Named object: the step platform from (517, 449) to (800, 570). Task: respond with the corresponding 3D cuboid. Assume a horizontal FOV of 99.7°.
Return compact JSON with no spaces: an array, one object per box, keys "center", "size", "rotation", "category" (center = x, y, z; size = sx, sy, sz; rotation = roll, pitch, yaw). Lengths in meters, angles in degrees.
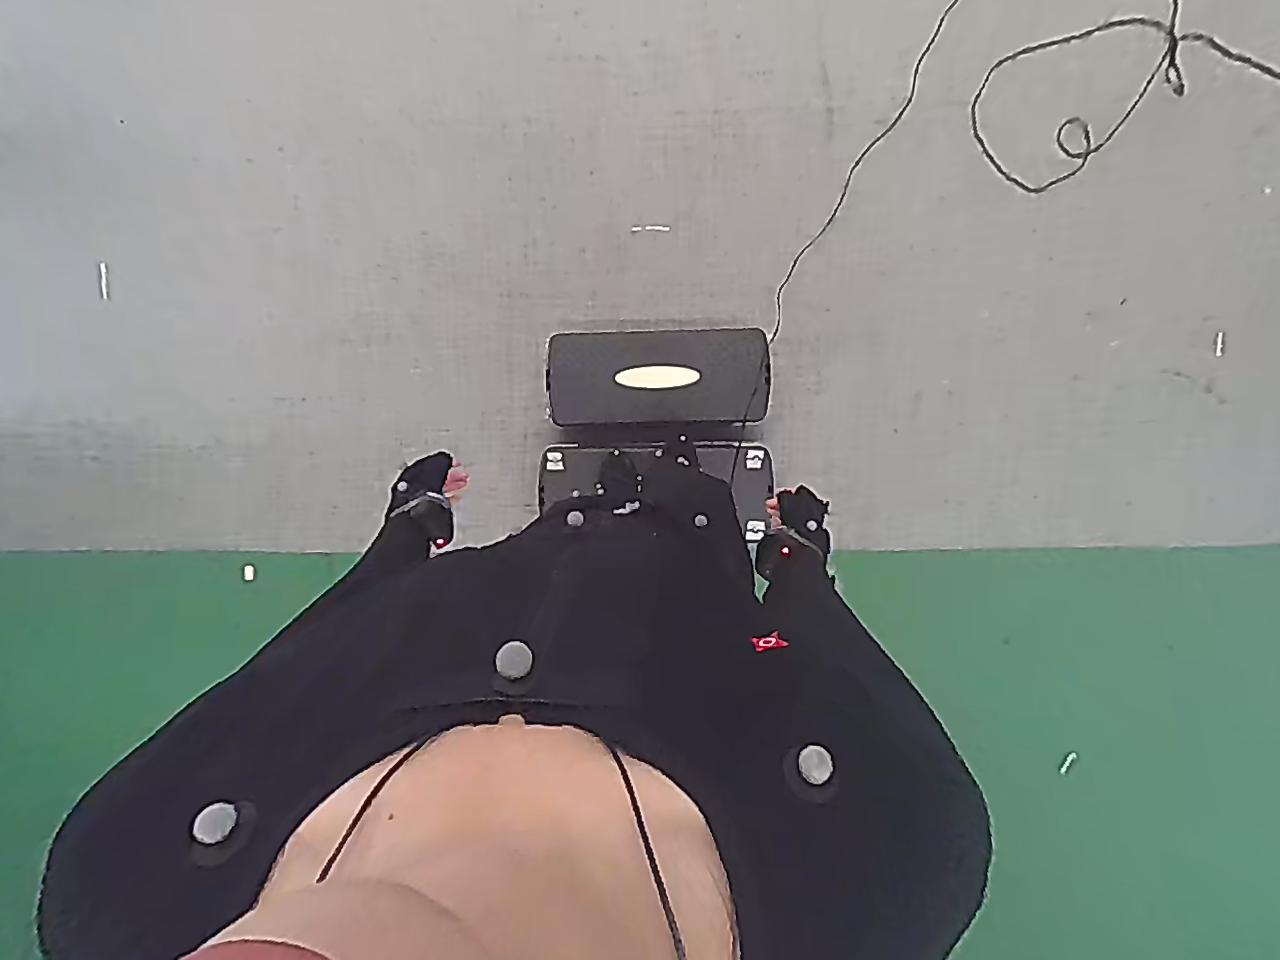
[{"center":[0.044,0.067,1.393],"size":[0.684,0.204,0.286],"rotation":[-1,94,1],"category":"step platform"}]
